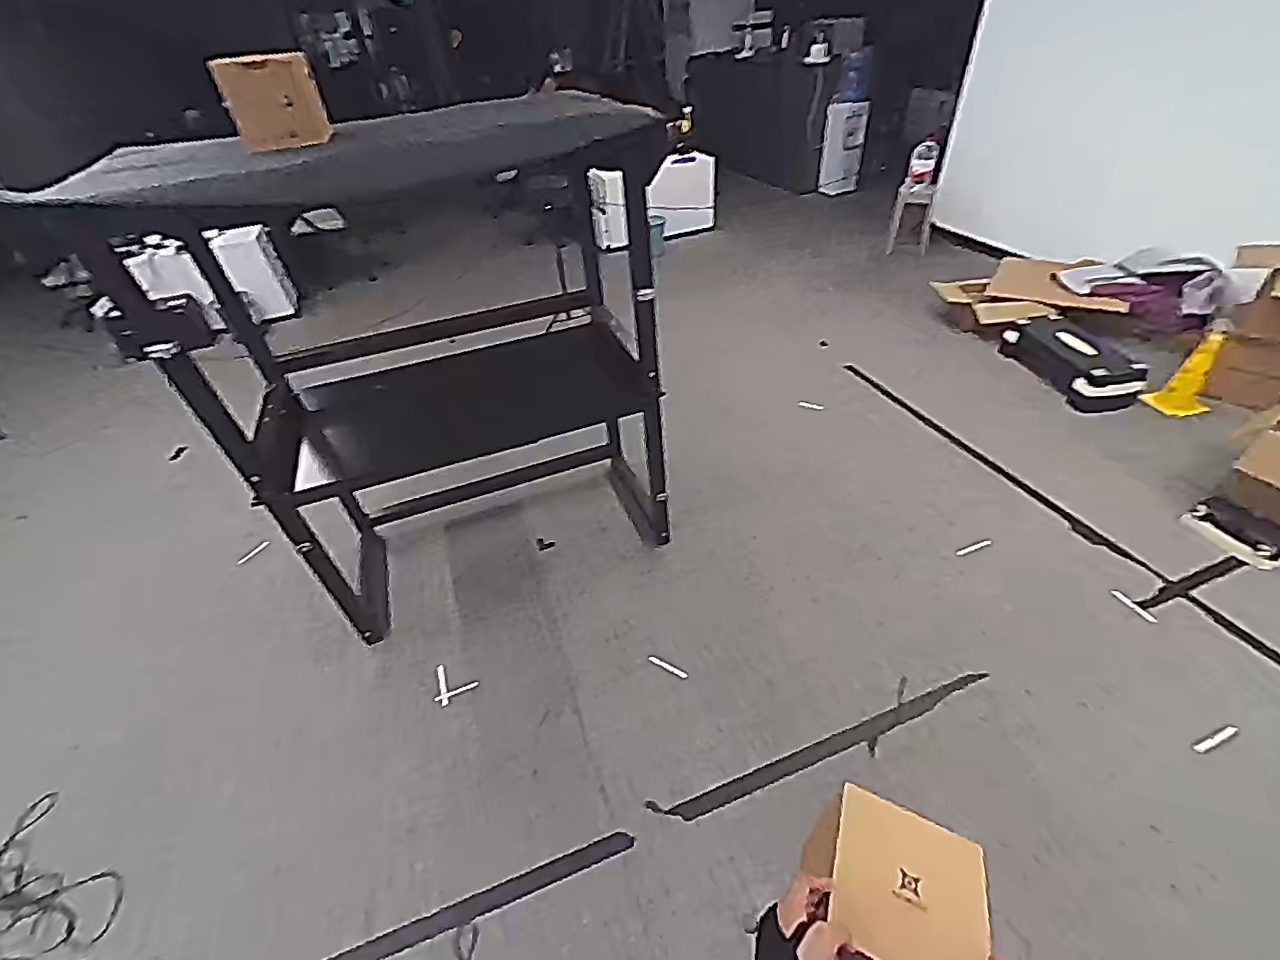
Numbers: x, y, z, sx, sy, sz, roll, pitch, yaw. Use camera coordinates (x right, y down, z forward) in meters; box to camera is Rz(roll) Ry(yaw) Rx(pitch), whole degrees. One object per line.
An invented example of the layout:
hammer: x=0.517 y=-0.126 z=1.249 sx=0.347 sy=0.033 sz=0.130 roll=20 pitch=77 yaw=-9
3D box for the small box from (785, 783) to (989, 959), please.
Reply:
small box: x=0.283 y=0.513 z=0.641 sx=0.168 sy=0.176 sz=0.179 roll=19 pitch=37 yaw=14

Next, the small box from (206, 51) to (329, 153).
small box: x=-0.840 y=-0.864 z=1.241 sx=0.168 sy=0.176 sz=0.179 roll=-15 pitch=43 yaw=-12
